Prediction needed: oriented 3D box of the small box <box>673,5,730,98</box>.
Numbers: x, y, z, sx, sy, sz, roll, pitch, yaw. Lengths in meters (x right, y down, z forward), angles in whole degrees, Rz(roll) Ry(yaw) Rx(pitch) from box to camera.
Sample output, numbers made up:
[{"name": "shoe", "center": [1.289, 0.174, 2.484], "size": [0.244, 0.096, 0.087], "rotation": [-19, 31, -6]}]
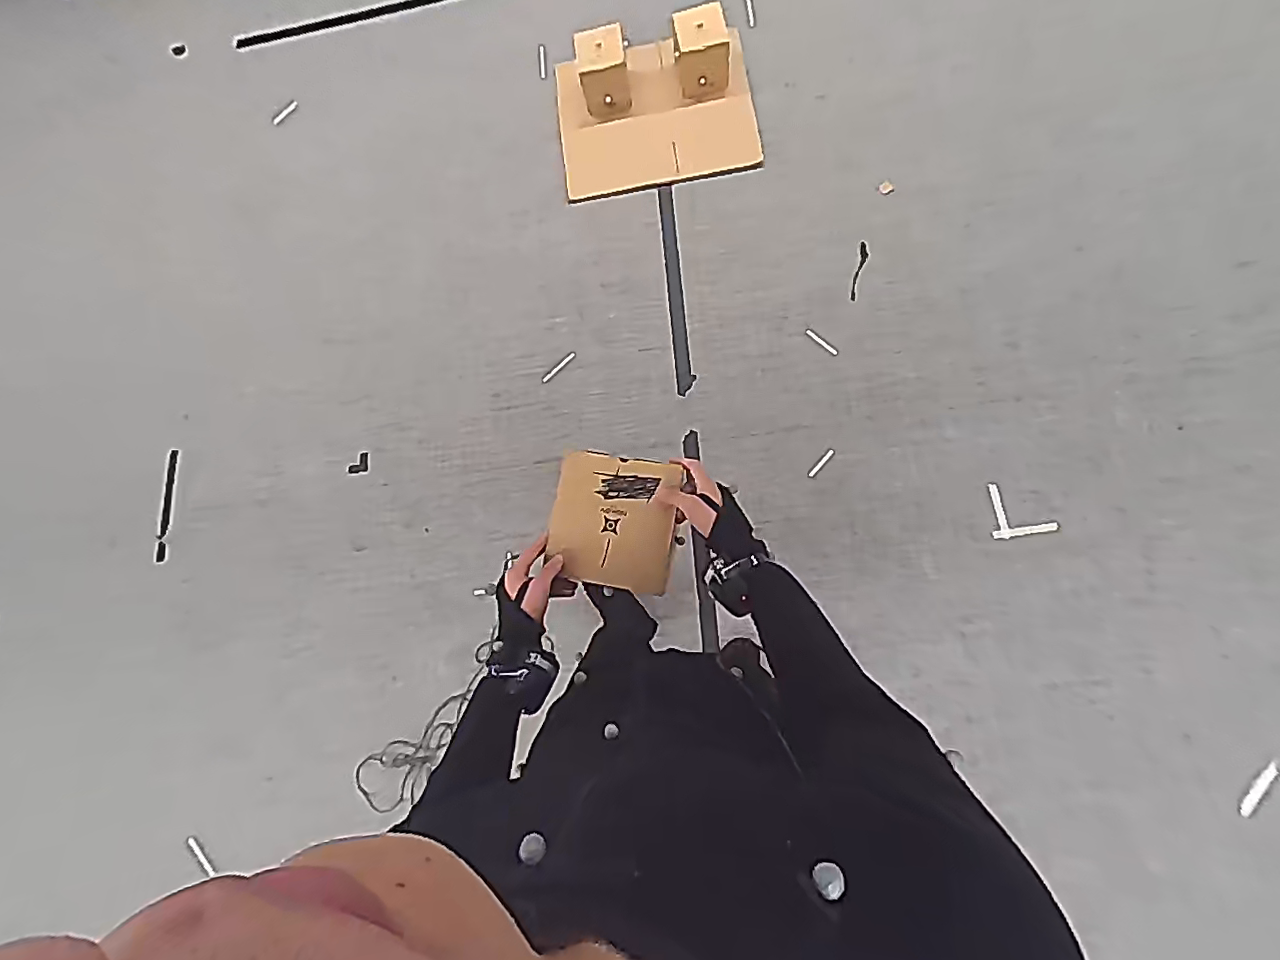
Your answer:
[{"name": "small box", "center": [0.214, -1.494, 1.893], "size": [0.168, 0.176, 0.179], "rotation": [-12, 77, 5]}]

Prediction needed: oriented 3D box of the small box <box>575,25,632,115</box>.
[{"name": "small box", "center": [-0.126, -1.451, 1.921], "size": [0.168, 0.176, 0.179], "rotation": [-9, 77, 6]}]

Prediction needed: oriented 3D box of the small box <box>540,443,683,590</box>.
[{"name": "small box", "center": [-0.030, 0.060, 0.794], "size": [0.168, 0.176, 0.179], "rotation": [9, 80, 8]}]
